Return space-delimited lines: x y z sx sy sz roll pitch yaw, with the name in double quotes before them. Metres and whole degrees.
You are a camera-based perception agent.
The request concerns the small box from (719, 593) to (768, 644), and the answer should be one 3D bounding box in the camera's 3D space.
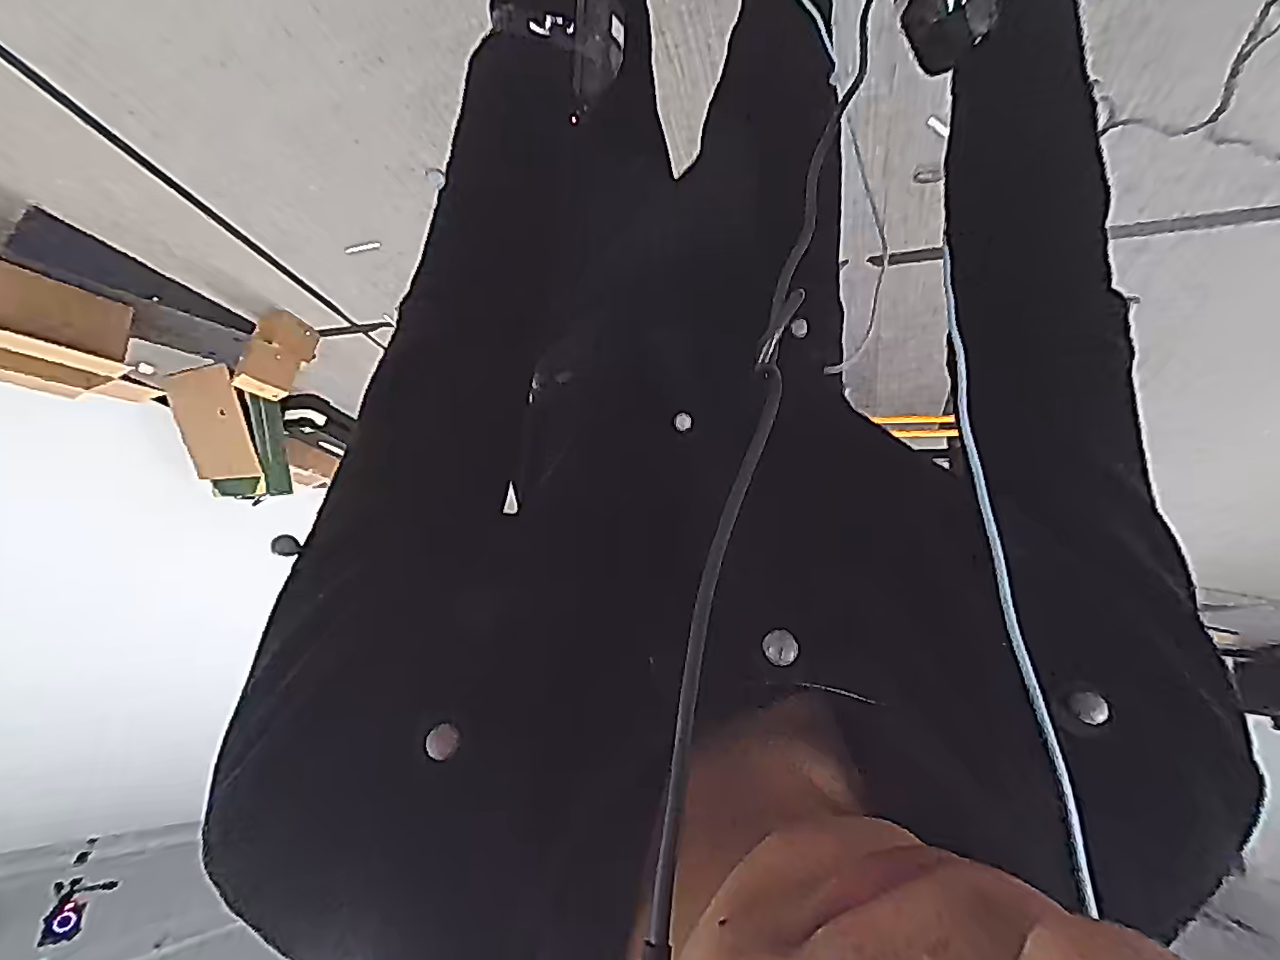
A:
"small box" 0.414 0.549 2.151 0.168 0.176 0.179 0 158 20
